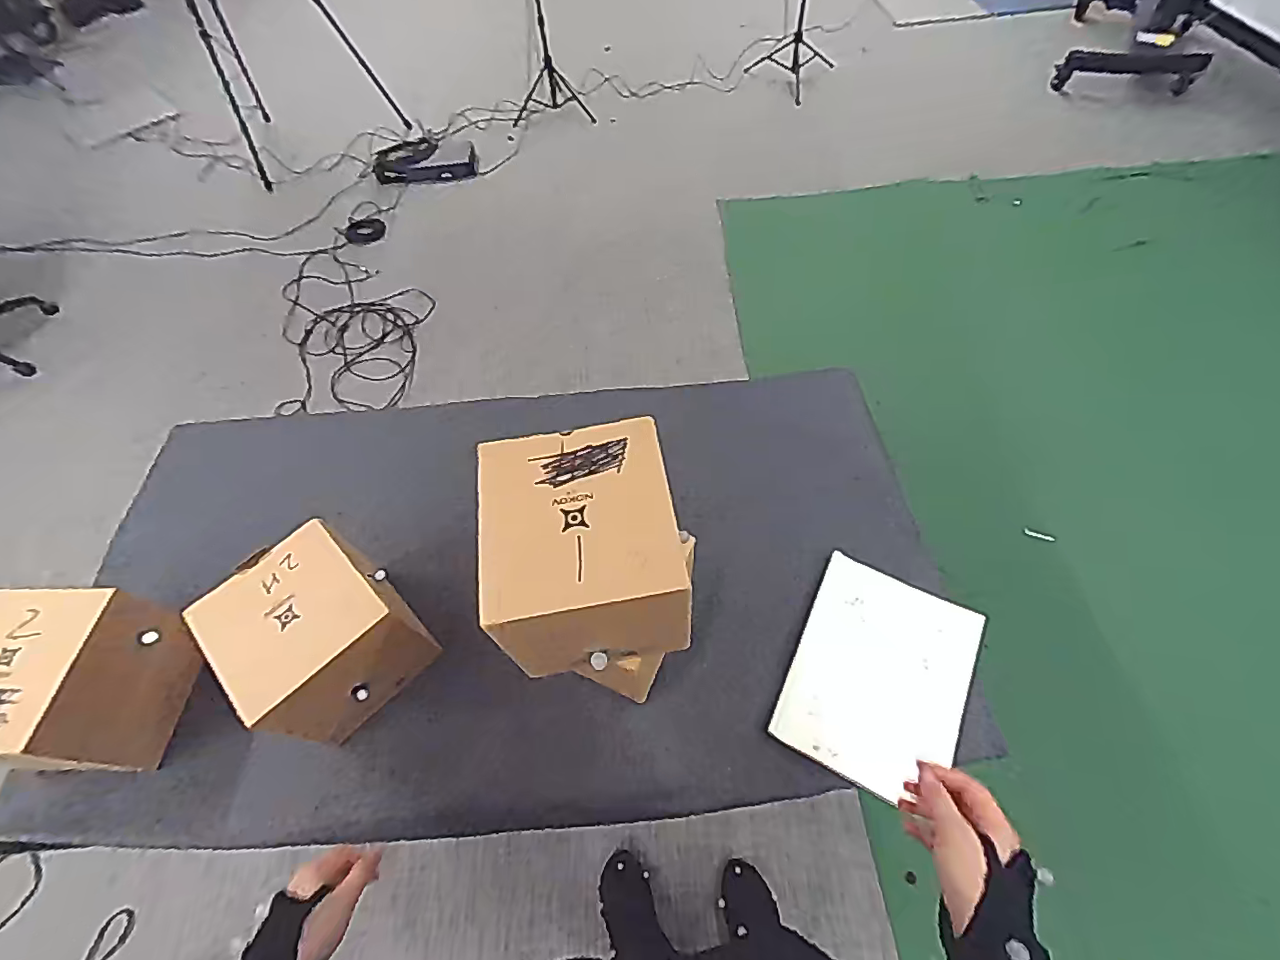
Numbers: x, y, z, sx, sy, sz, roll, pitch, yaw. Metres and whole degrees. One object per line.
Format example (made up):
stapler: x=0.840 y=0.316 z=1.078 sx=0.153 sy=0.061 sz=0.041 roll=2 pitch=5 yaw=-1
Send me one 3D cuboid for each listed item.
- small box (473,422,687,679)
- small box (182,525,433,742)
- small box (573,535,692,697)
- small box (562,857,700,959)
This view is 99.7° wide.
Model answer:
small box: x=-0.053 y=0.073 z=0.521 sx=0.168 sy=0.176 sz=0.179 roll=-10 pitch=57 yaw=-2
small box: x=-0.388 y=0.193 z=0.660 sx=0.179 sy=0.176 sz=0.168 roll=39 pitch=67 yaw=24
small box: x=-0.046 y=0.149 z=0.667 sx=0.179 sy=0.176 sz=0.168 roll=19 pitch=61 yaw=16
small box: x=-0.010 y=0.876 z=1.047 sx=0.176 sy=0.168 sz=0.179 roll=48 pitch=44 yaw=-4
